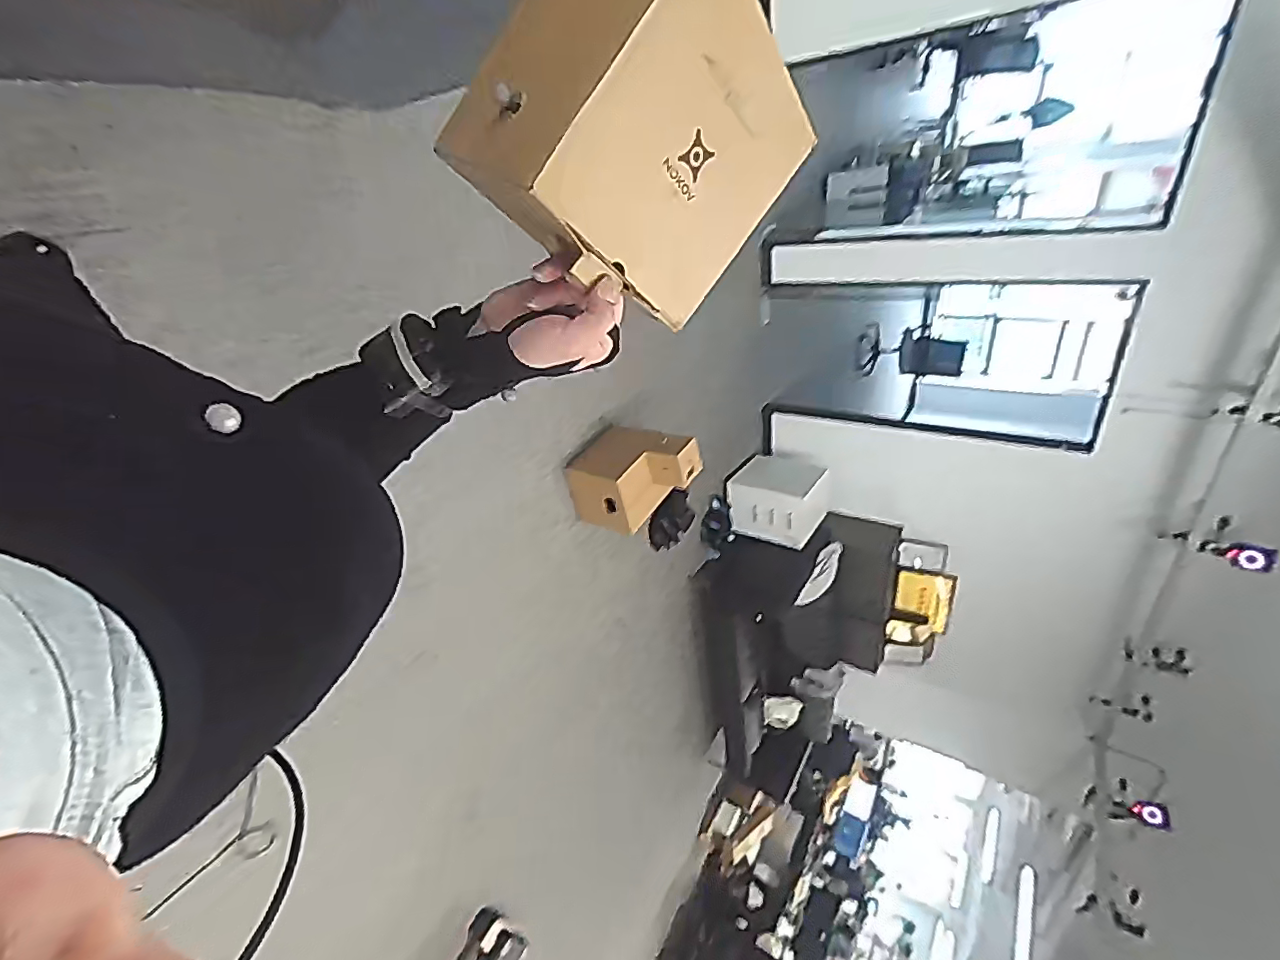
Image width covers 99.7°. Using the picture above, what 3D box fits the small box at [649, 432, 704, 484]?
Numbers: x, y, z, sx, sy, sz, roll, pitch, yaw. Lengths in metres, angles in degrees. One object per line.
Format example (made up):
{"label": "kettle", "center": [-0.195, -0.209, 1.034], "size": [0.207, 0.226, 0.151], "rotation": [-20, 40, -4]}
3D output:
{"label": "small box", "center": [0.165, -0.105, 2.445], "size": [0.168, 0.176, 0.179], "rotation": [-46, 132, -39]}
